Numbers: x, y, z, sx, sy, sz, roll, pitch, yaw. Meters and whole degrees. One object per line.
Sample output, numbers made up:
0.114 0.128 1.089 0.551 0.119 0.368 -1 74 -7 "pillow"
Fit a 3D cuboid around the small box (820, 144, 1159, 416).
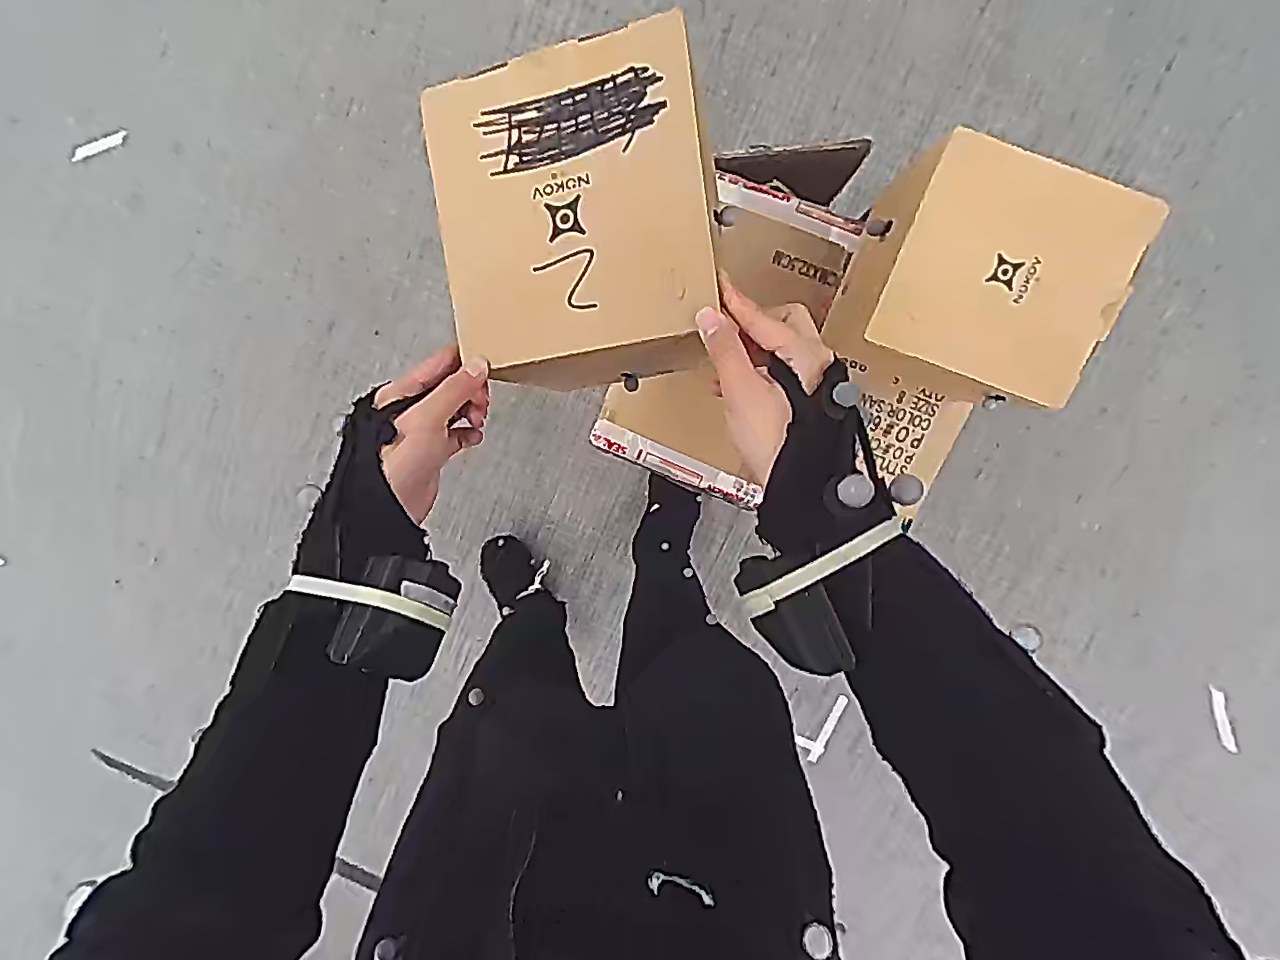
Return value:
0.292 -0.169 0.504 0.179 0.176 0.168 20 103 -1 "small box"
